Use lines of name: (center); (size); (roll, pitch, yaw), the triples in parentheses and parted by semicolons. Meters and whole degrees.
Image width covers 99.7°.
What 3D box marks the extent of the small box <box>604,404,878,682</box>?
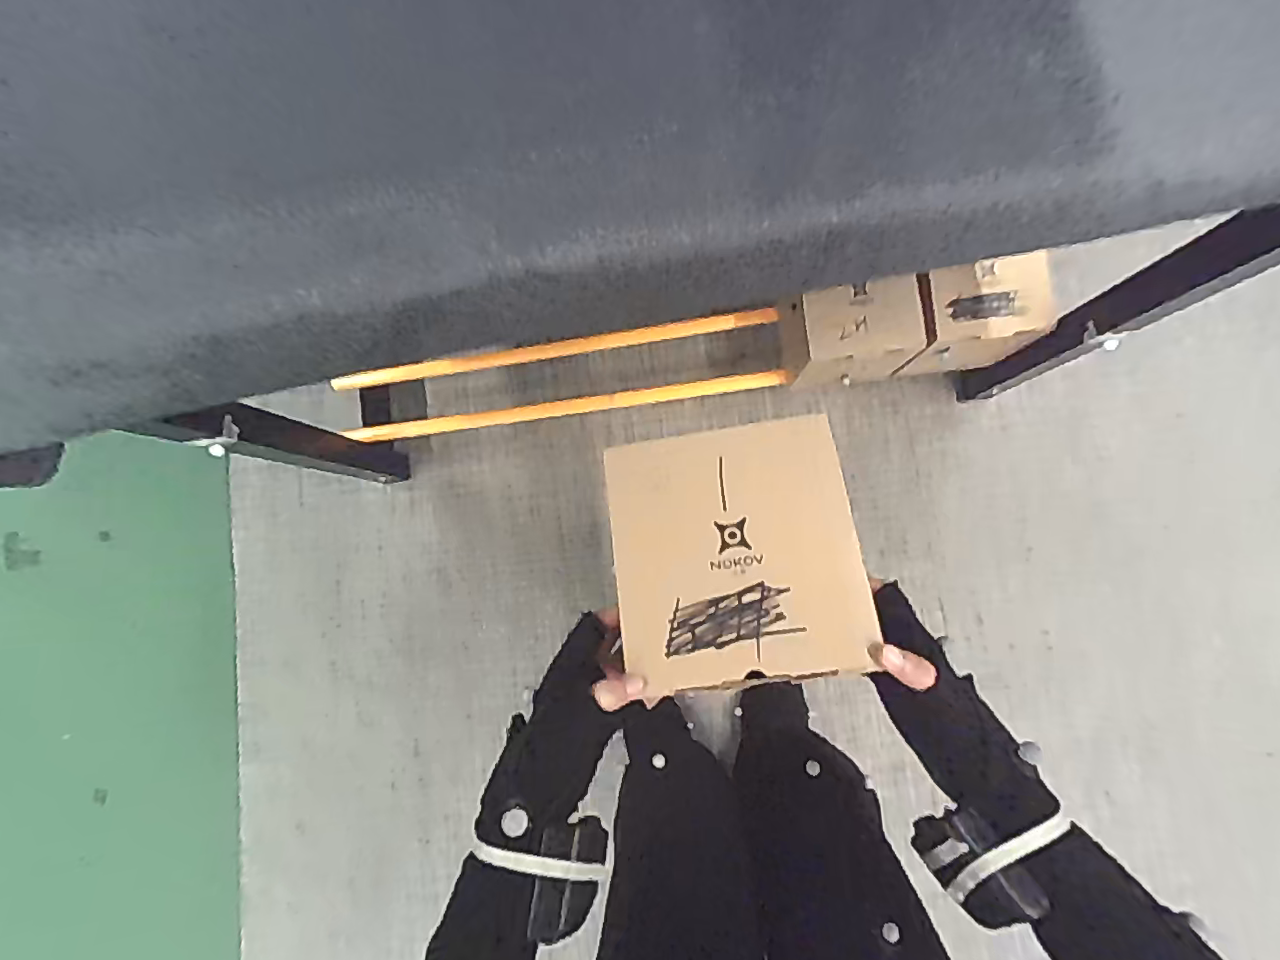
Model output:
small box: (0.073, 0.061, 0.446); (0.168, 0.176, 0.179); (-9, 71, 5)
